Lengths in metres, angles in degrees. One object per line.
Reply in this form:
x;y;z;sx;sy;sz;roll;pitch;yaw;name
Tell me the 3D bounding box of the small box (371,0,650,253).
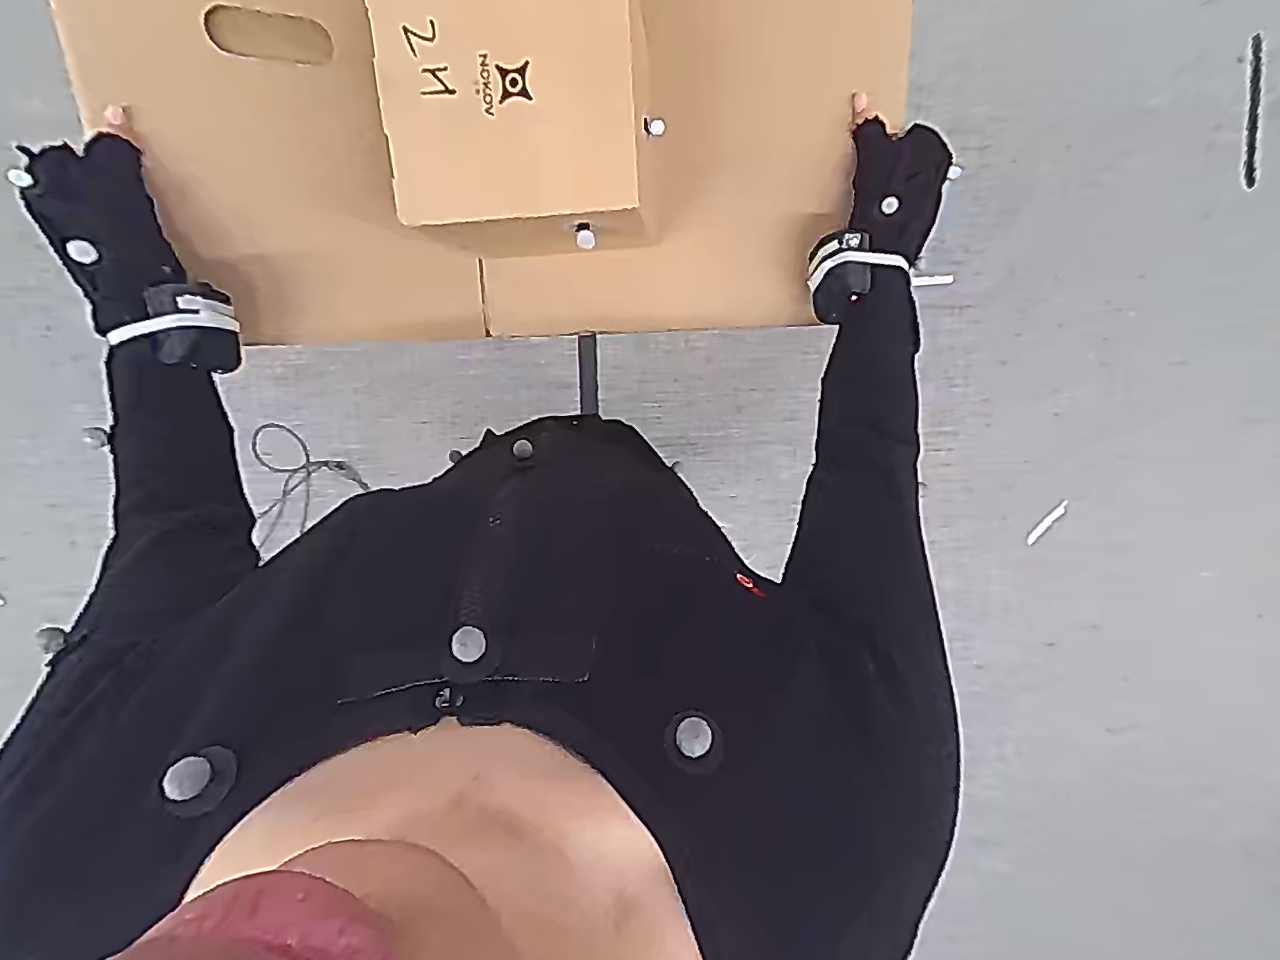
-0.083;-0.288;0.442;0.179;0.176;0.168;-1;104;7;small box
